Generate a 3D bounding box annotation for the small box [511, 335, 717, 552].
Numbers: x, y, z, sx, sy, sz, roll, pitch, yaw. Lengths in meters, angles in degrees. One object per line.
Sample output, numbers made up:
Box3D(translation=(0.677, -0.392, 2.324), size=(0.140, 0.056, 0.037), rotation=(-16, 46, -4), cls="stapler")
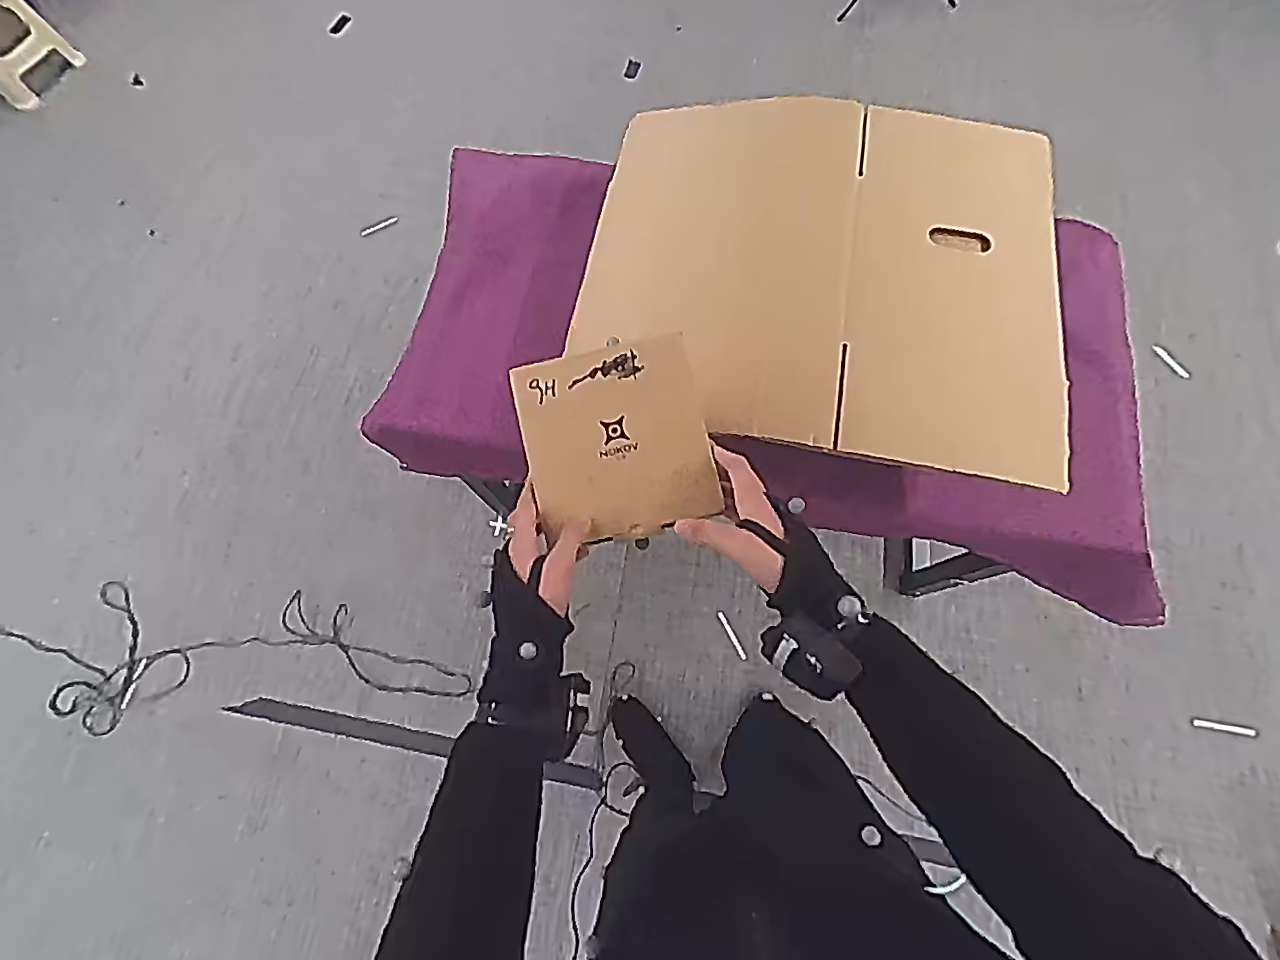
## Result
Box3D(translation=(-0.022, -0.029, 0.574), size=(0.168, 0.176, 0.179), rotation=(-13, 85, 1), cls="small box")
